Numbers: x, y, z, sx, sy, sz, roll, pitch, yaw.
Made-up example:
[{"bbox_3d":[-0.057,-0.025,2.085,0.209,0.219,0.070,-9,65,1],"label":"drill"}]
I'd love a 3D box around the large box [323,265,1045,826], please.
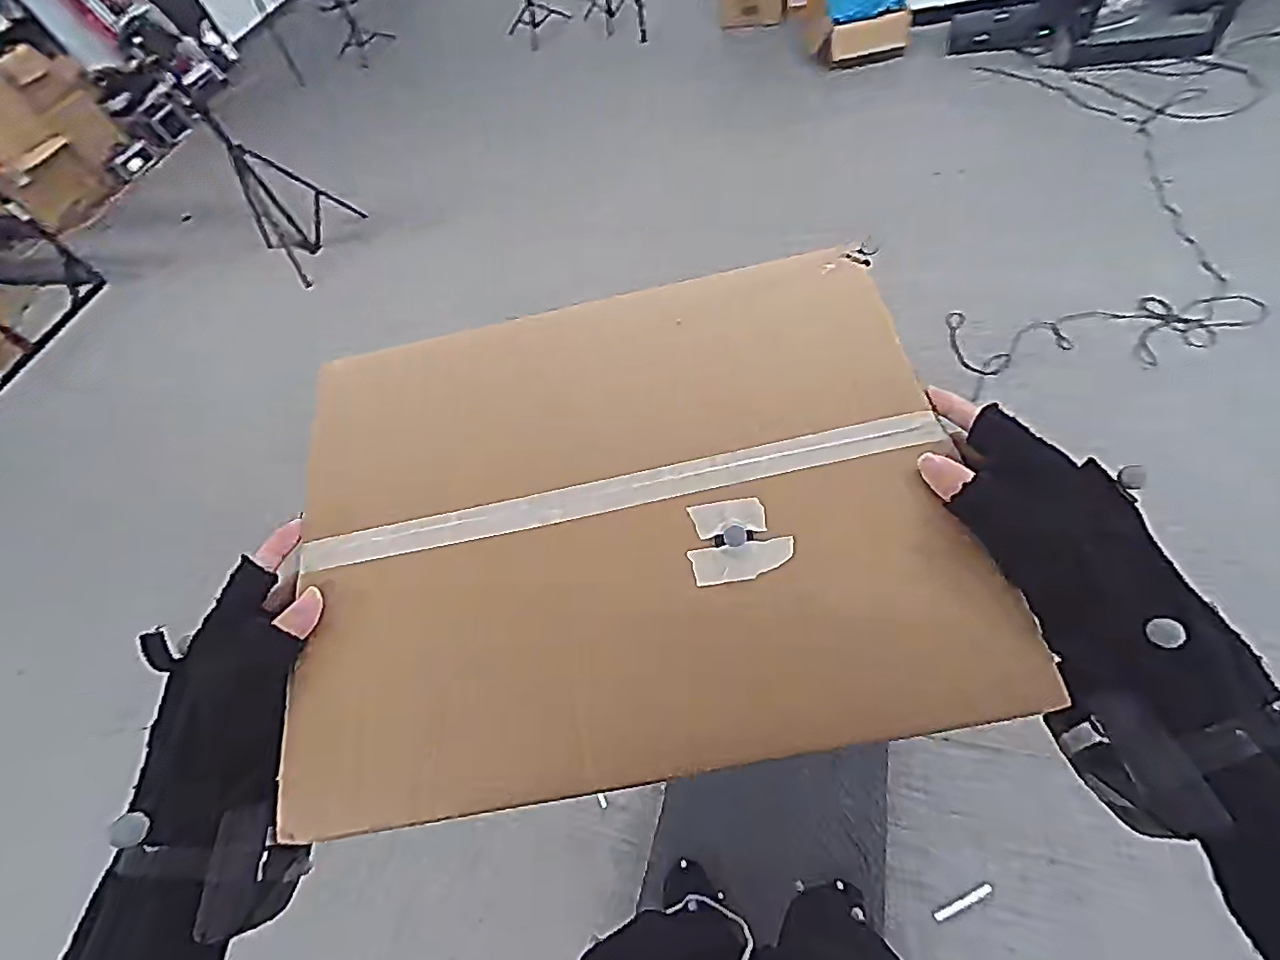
[{"bbox_3d":[0.011,0.074,0.484,0.408,0.320,0.320,-11,66,3],"label":"large box"}]
